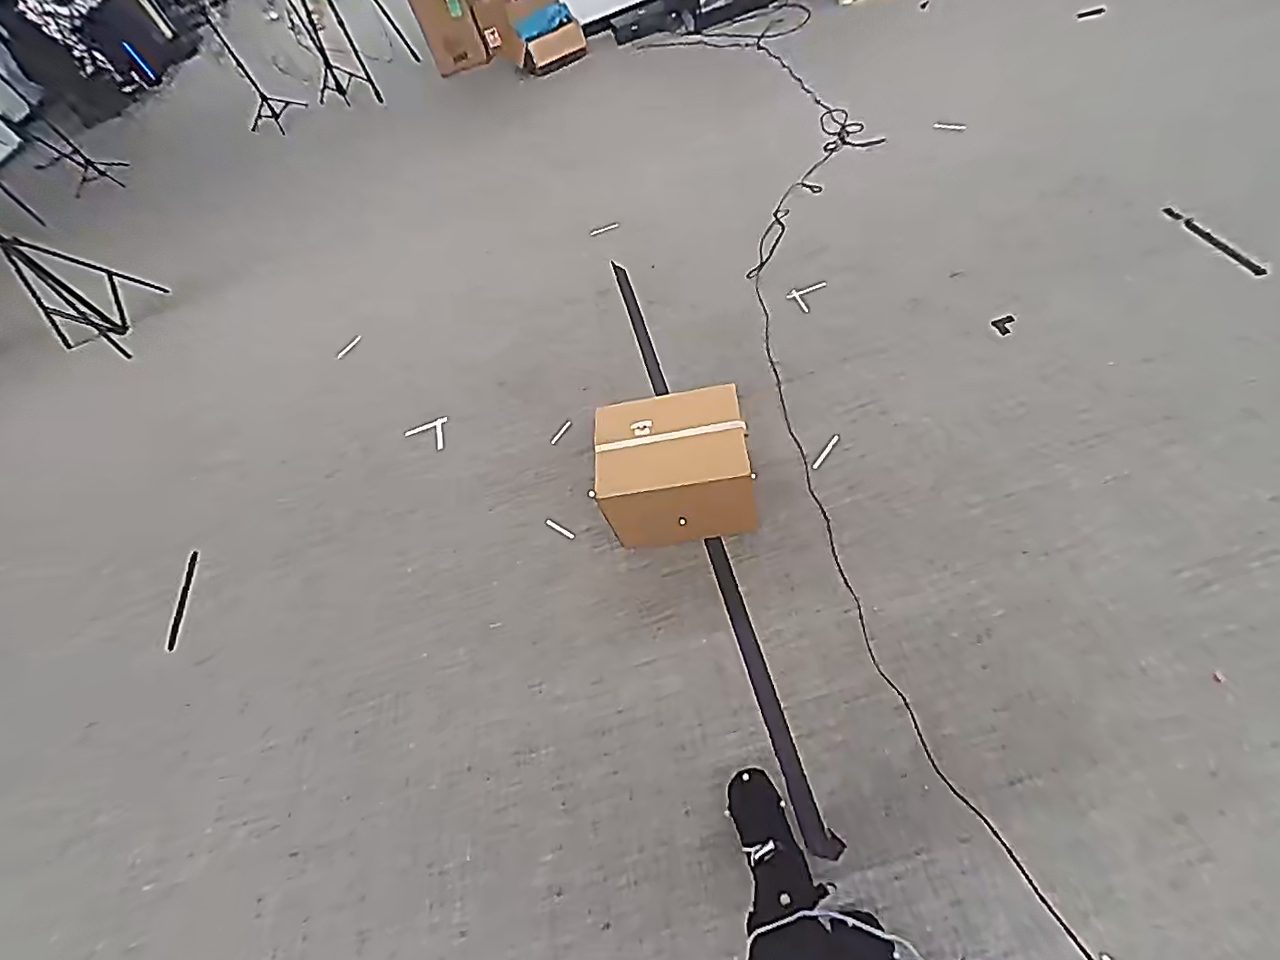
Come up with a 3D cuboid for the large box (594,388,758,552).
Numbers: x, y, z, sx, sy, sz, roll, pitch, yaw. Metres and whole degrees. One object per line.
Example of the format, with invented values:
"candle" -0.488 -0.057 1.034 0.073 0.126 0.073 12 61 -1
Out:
"large box" 0.105 -0.017 1.561 0.408 0.320 0.320 -10 54 11
